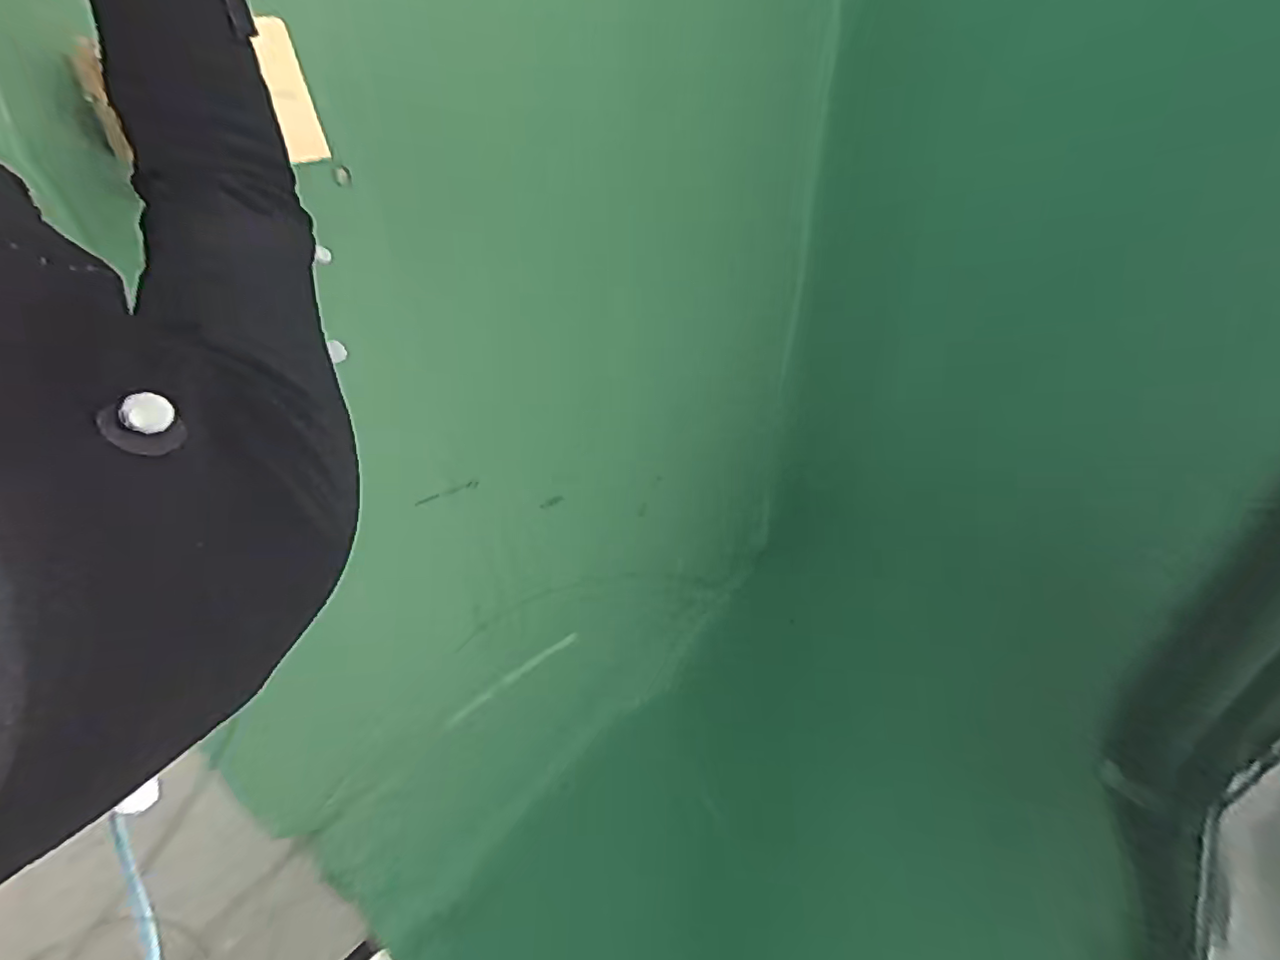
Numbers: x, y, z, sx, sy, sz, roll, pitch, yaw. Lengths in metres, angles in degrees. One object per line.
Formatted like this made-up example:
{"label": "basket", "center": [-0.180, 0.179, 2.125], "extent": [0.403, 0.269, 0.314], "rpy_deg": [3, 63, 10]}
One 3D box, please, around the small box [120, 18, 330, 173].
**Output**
{"label": "small box", "center": [-0.596, -0.546, 0.779], "extent": [0.179, 0.176, 0.168], "rpy_deg": [-36, 136, -35]}

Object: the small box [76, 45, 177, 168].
{"label": "small box", "center": [-0.845, -0.658, 0.964], "extent": [0.179, 0.176, 0.168], "rpy_deg": [-29, 132, -37]}
